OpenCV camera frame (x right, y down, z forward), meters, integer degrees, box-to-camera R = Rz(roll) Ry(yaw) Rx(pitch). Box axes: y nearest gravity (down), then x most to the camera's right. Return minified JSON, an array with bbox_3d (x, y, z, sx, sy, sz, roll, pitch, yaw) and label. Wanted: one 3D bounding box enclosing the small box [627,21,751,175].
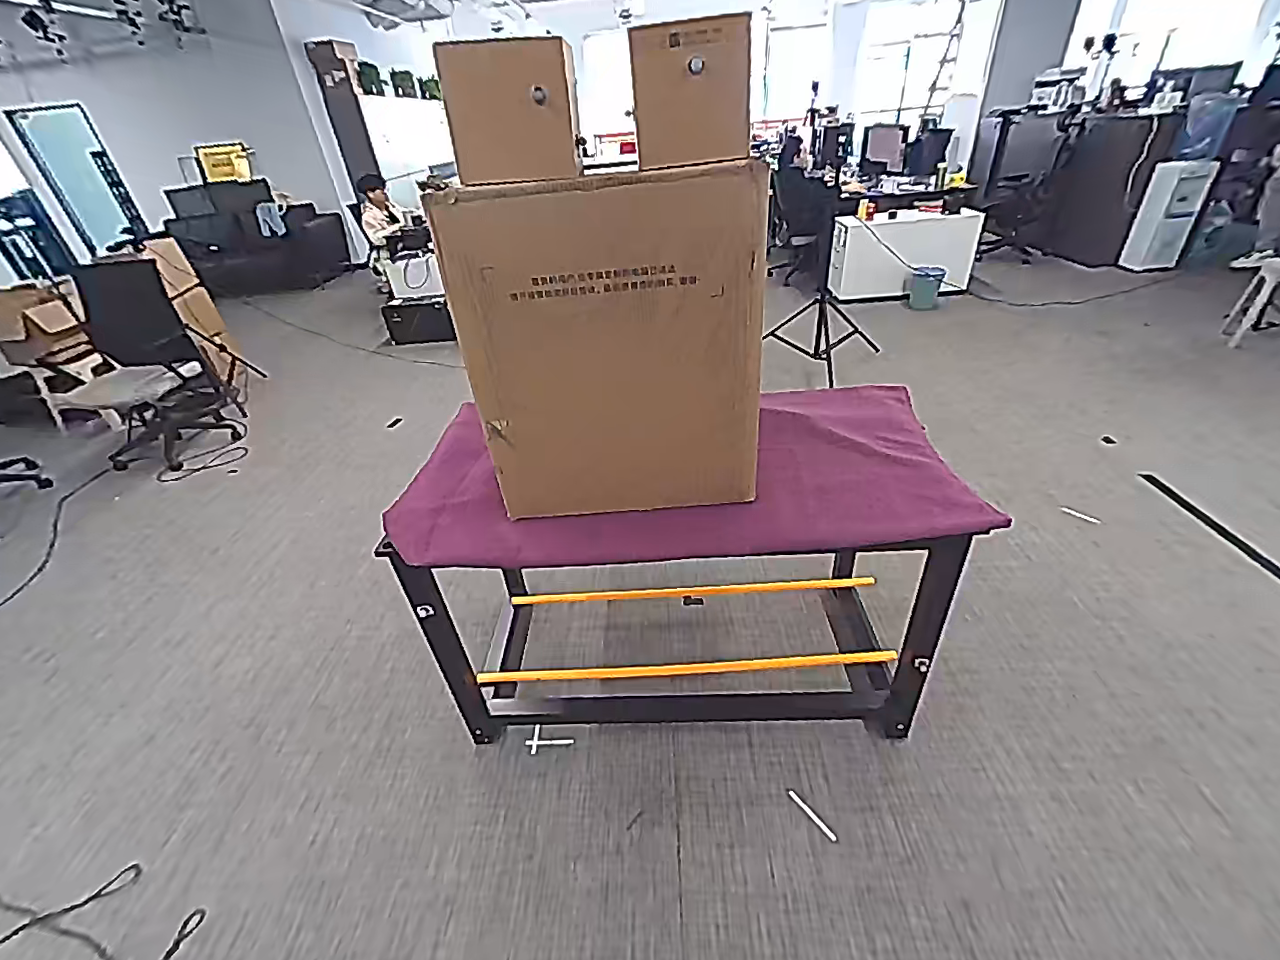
[{"bbox_3d":[0.072,-0.572,0.818,0.168,0.176,0.179,-6,33,2],"label":"small box"}]
